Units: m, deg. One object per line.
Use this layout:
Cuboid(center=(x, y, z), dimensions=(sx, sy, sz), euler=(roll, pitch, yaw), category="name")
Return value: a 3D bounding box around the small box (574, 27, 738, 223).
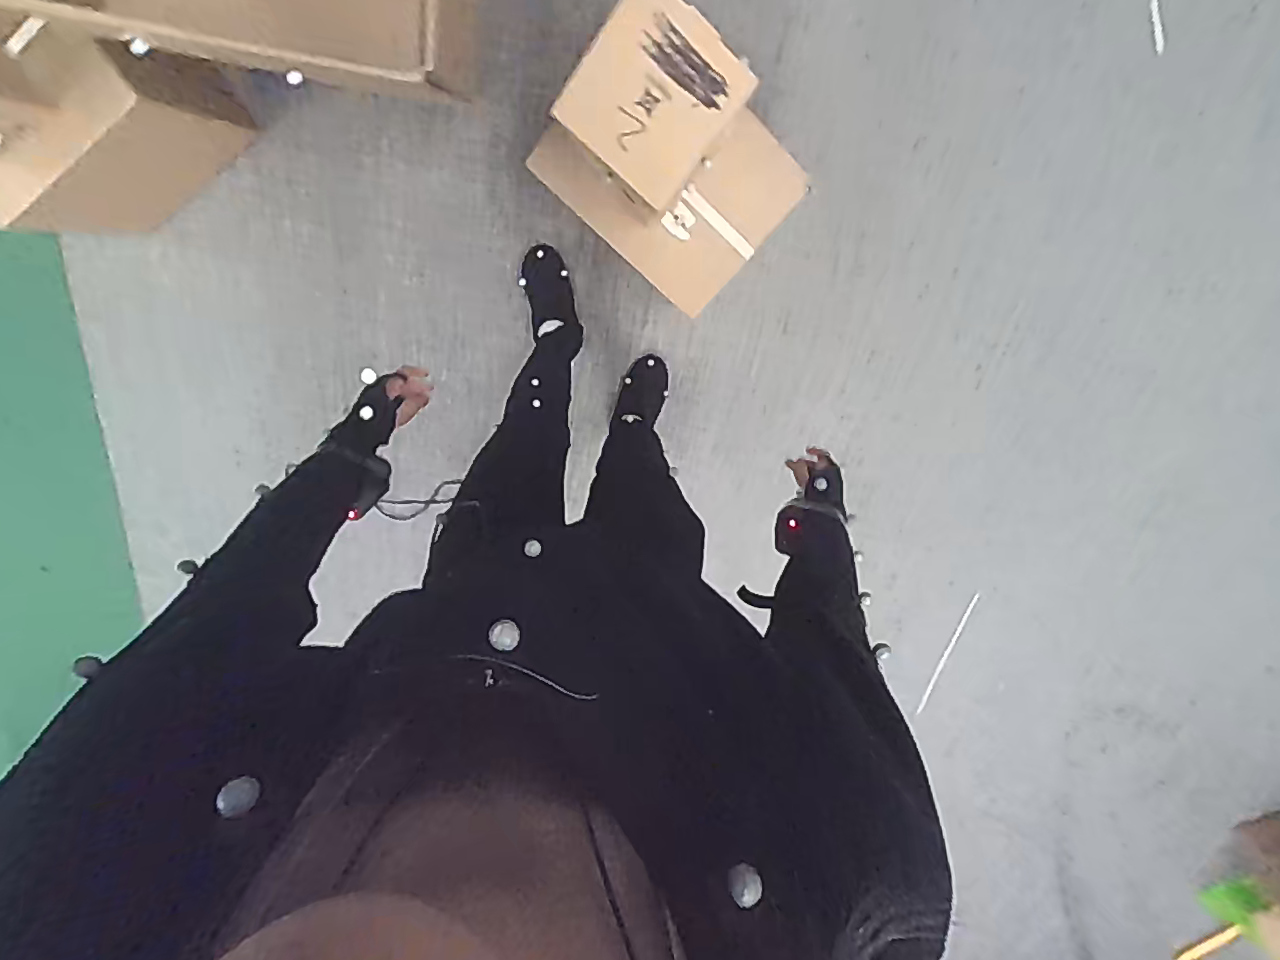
Cuboid(center=(0.022, -0.526, 0.833), dimensions=(0.179, 0.176, 0.168), euler=(-42, 106, 17), category="small box")
